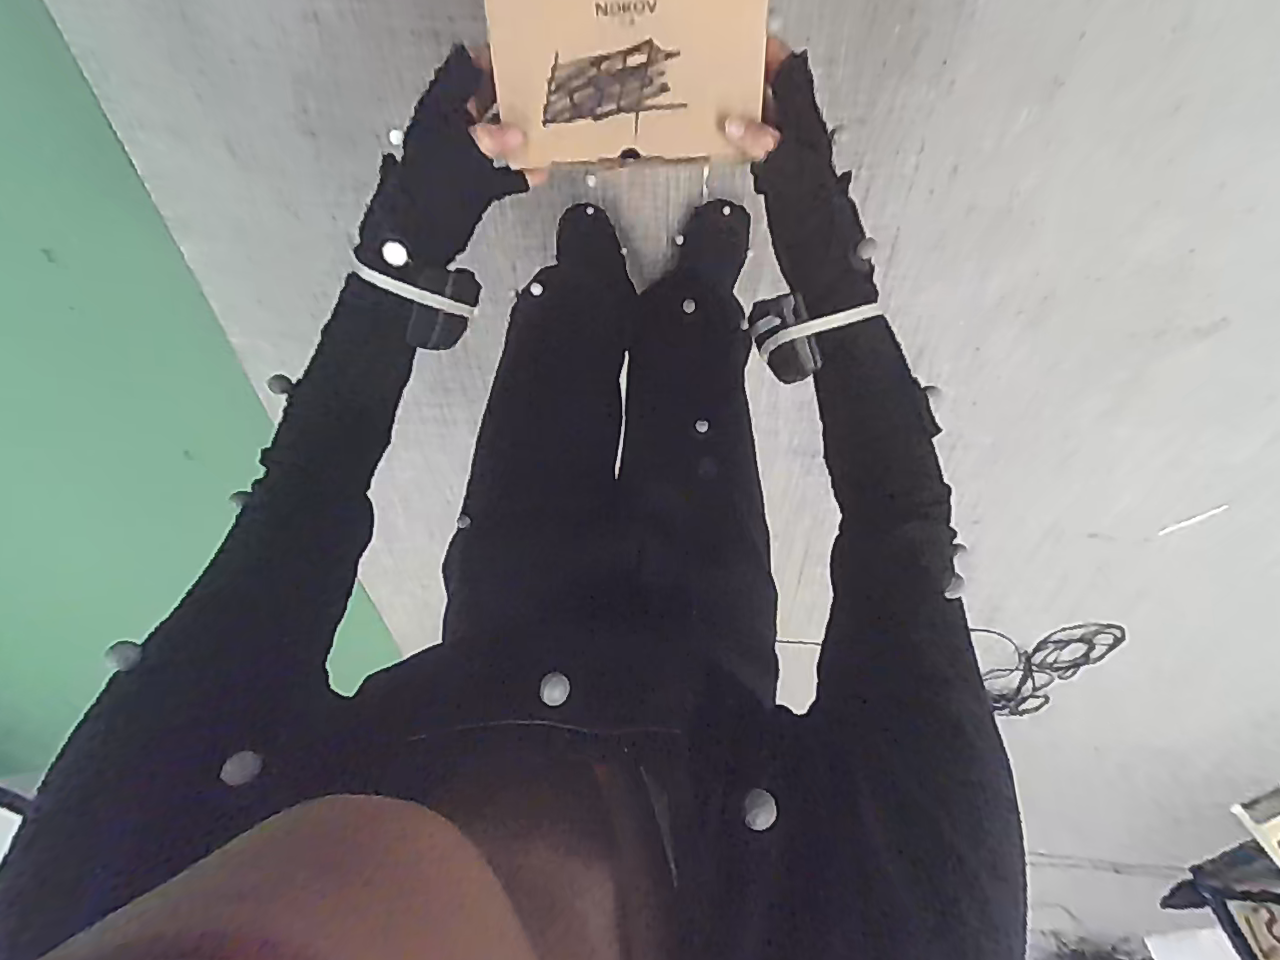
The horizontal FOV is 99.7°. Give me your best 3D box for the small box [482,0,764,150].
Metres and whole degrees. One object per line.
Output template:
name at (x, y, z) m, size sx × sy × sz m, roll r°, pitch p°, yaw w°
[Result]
small box at (-0.003, -0.329, 0.369) m, size 0.168 × 0.176 × 0.179 m, roll 1°, pitch 119°, yaw 5°
